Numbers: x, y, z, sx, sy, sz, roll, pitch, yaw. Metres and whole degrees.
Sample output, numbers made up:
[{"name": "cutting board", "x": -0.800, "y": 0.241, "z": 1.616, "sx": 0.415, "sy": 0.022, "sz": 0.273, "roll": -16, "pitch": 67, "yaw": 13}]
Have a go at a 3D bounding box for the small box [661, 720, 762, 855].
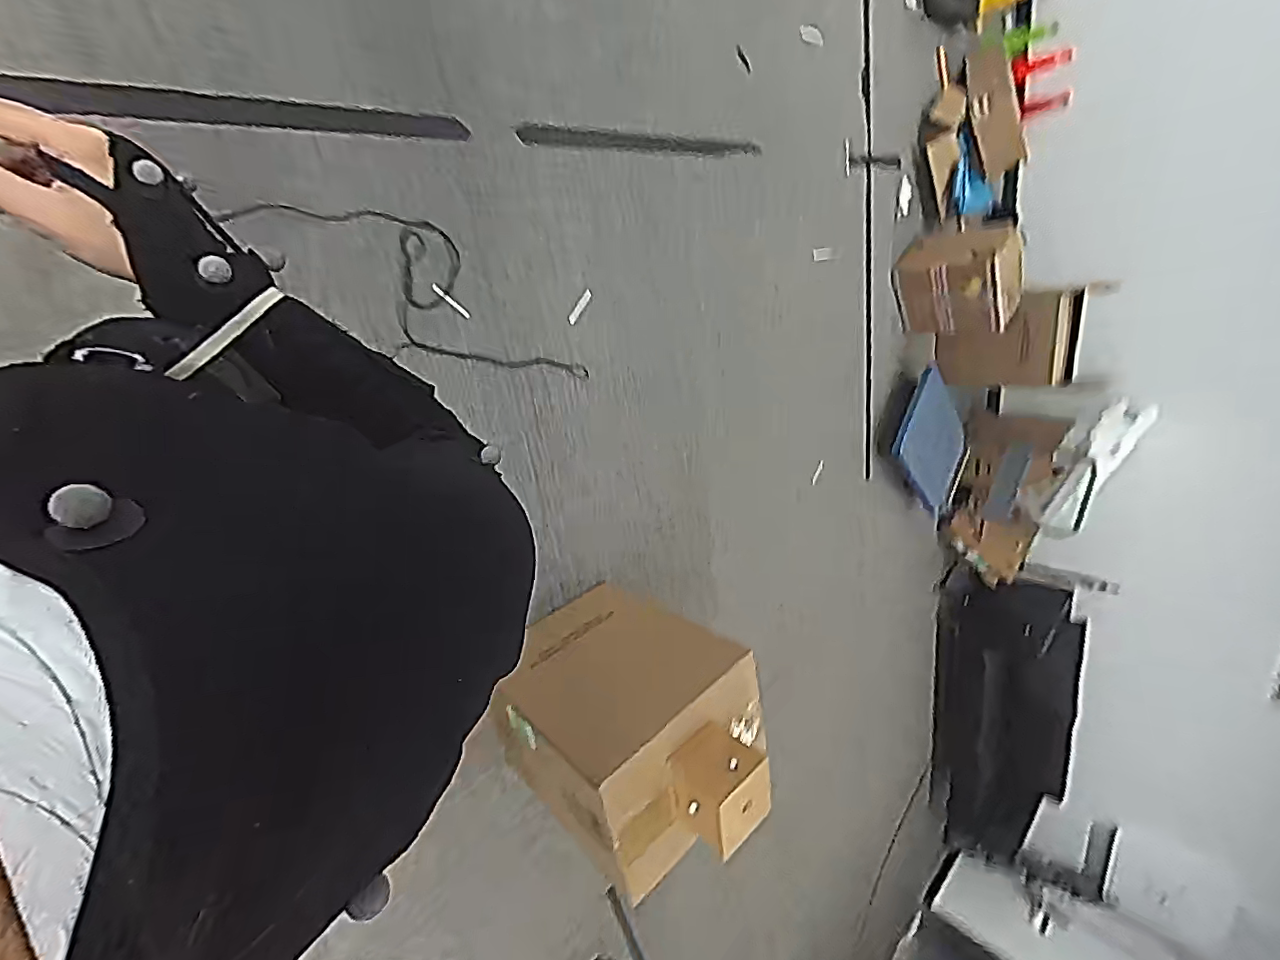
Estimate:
[{"name": "small box", "x": 0.161, "y": 0.702, "z": 1.257, "sx": 0.179, "sy": 0.176, "sz": 0.168, "roll": -23, "pitch": 114, "yaw": -39}]
